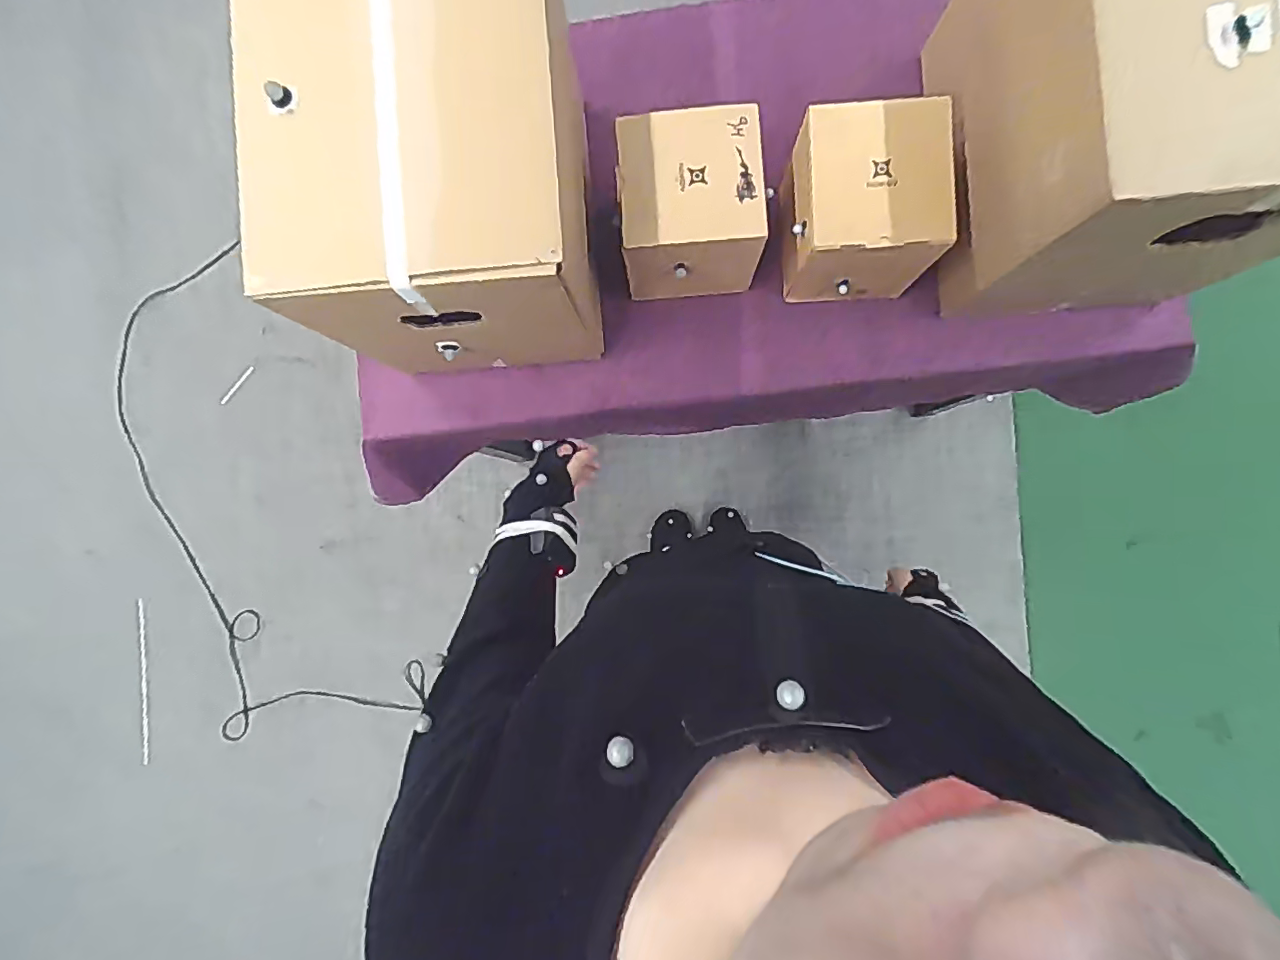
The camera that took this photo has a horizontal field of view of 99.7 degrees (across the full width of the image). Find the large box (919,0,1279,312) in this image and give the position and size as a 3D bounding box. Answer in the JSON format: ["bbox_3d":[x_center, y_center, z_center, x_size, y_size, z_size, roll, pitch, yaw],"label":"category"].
[{"bbox_3d":[0.567,-0.452,0.640,0.320,0.320,0.408,-3,88,3],"label":"large box"}]
